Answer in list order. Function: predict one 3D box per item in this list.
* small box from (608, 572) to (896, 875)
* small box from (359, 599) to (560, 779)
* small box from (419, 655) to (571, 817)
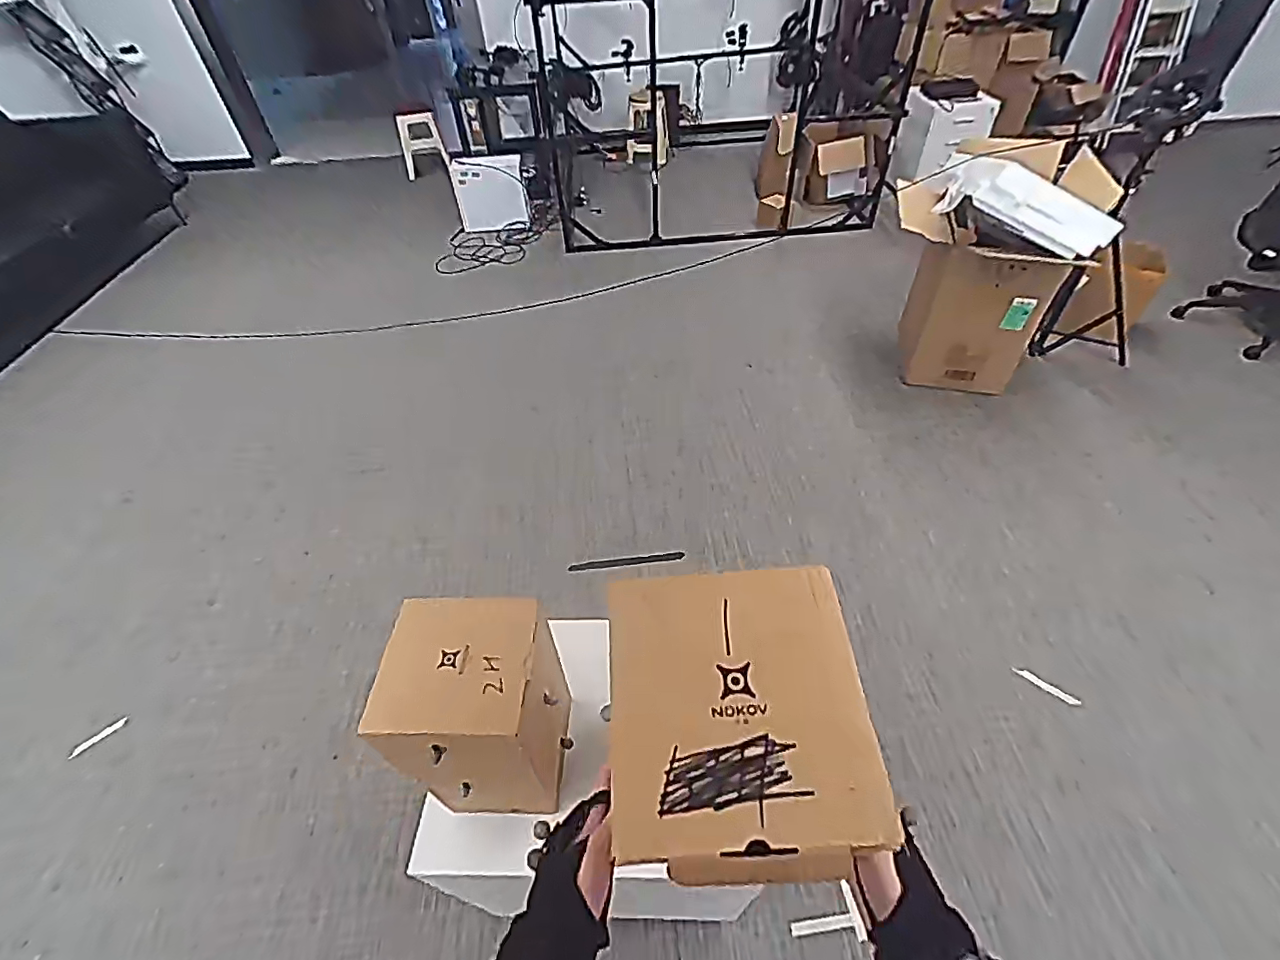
[{"bbox_3d":[0.067,0.189,0.417,0.168,0.176,0.179,-5,55,2],"label":"small box"},{"bbox_3d":[-0.207,0.265,0.681,0.179,0.176,0.168,-1,47,2],"label":"small box"},{"bbox_3d":[-0.201,0.376,0.803,0.168,0.176,0.179,0,45,3],"label":"small box"}]
